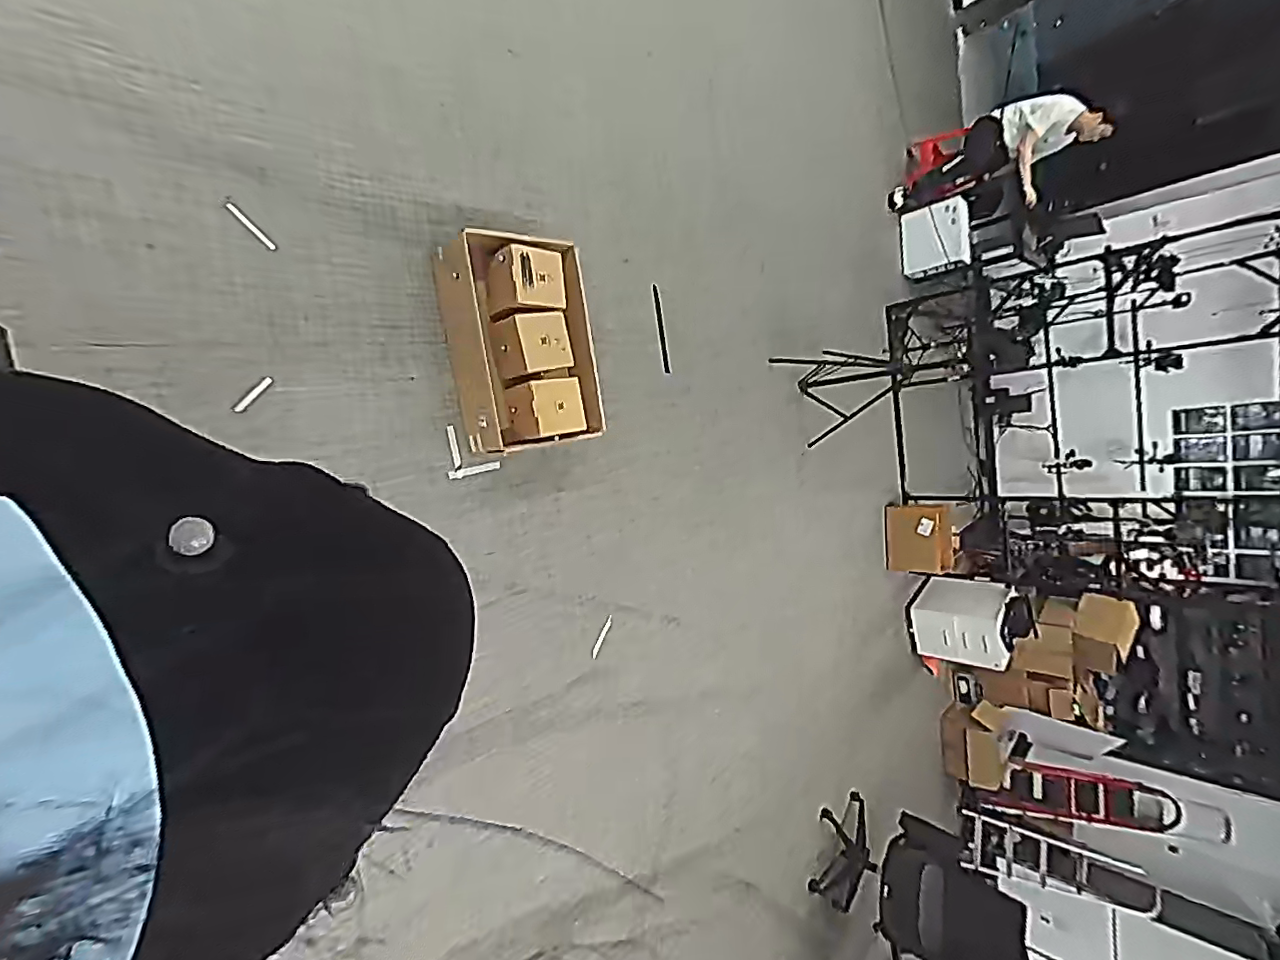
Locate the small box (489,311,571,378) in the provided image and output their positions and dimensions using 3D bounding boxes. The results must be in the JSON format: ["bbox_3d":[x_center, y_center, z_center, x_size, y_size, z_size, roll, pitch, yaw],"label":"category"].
[{"bbox_3d":[-0.343,-0.412,1.649,0.179,0.176,0.168,-21,105,-43],"label":"small box"}]

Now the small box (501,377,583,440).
[{"bbox_3d":[-0.306,-0.222,1.682,0.179,0.176,0.168,-15,98,-42],"label":"small box"}]
